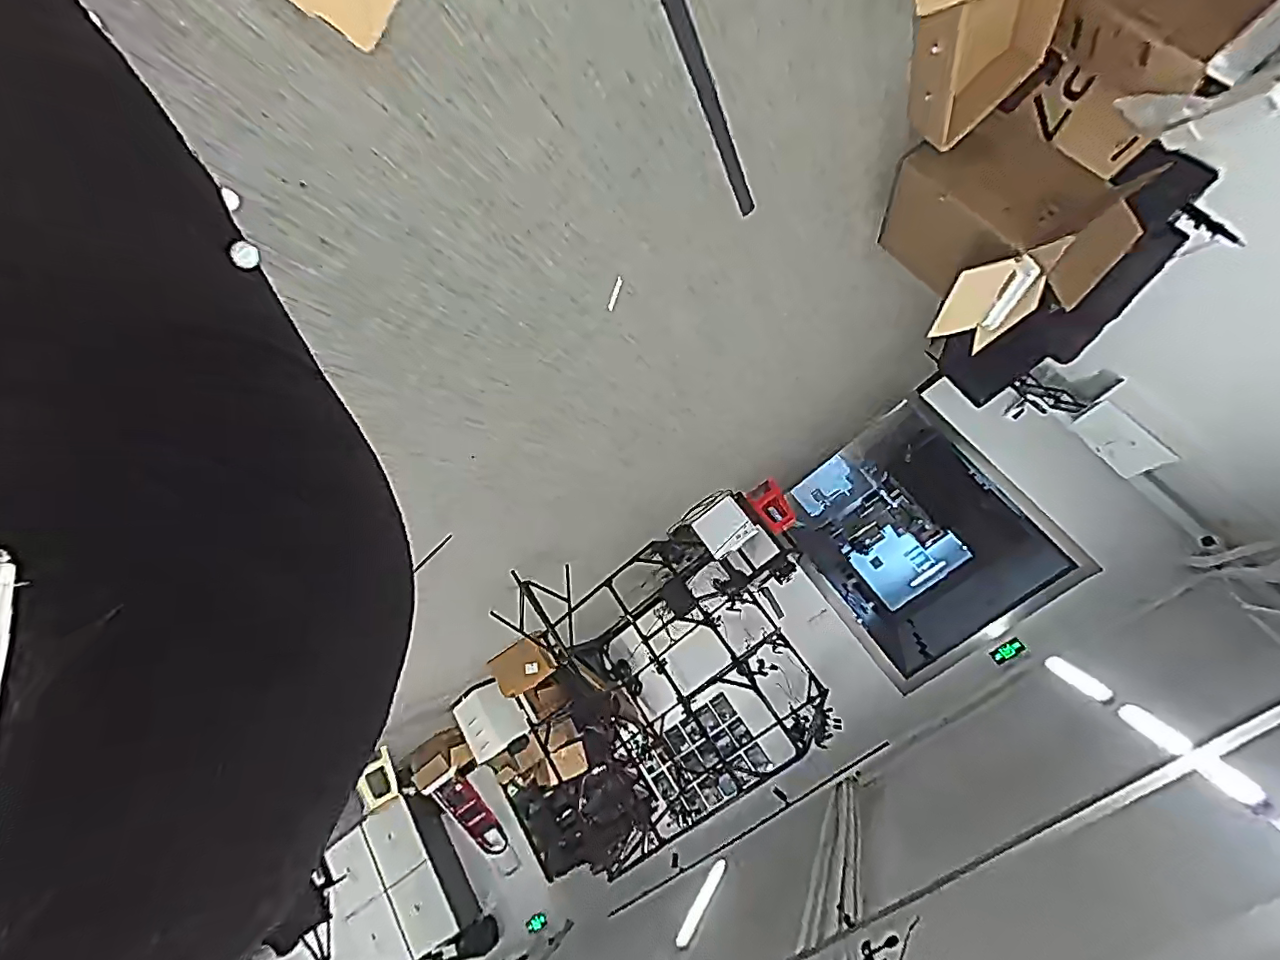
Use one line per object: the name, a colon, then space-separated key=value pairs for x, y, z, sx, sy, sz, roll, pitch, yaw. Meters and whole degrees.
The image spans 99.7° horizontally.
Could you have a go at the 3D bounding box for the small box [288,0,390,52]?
small box: x=-0.365 y=-0.636 z=0.583 sx=0.179 sy=0.176 sz=0.168 roll=-43 pitch=159 yaw=20
